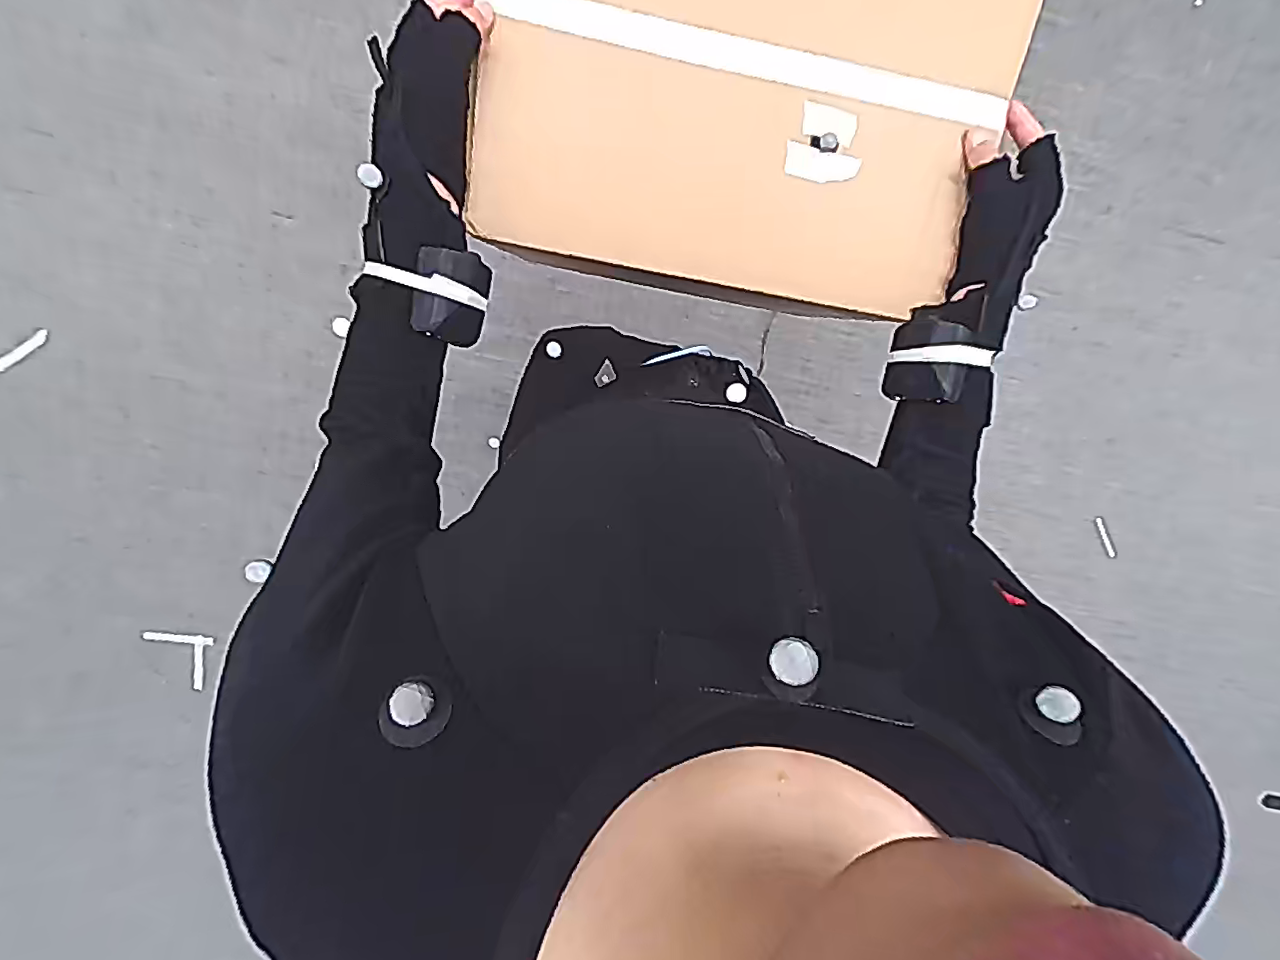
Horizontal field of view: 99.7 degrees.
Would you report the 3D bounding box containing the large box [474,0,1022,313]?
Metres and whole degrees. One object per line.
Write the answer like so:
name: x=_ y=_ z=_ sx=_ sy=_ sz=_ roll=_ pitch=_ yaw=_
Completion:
large box: x=0.072 y=-0.366 z=0.557 sx=0.408 sy=0.320 sz=0.320 roll=9 pitch=109 yaw=-7
